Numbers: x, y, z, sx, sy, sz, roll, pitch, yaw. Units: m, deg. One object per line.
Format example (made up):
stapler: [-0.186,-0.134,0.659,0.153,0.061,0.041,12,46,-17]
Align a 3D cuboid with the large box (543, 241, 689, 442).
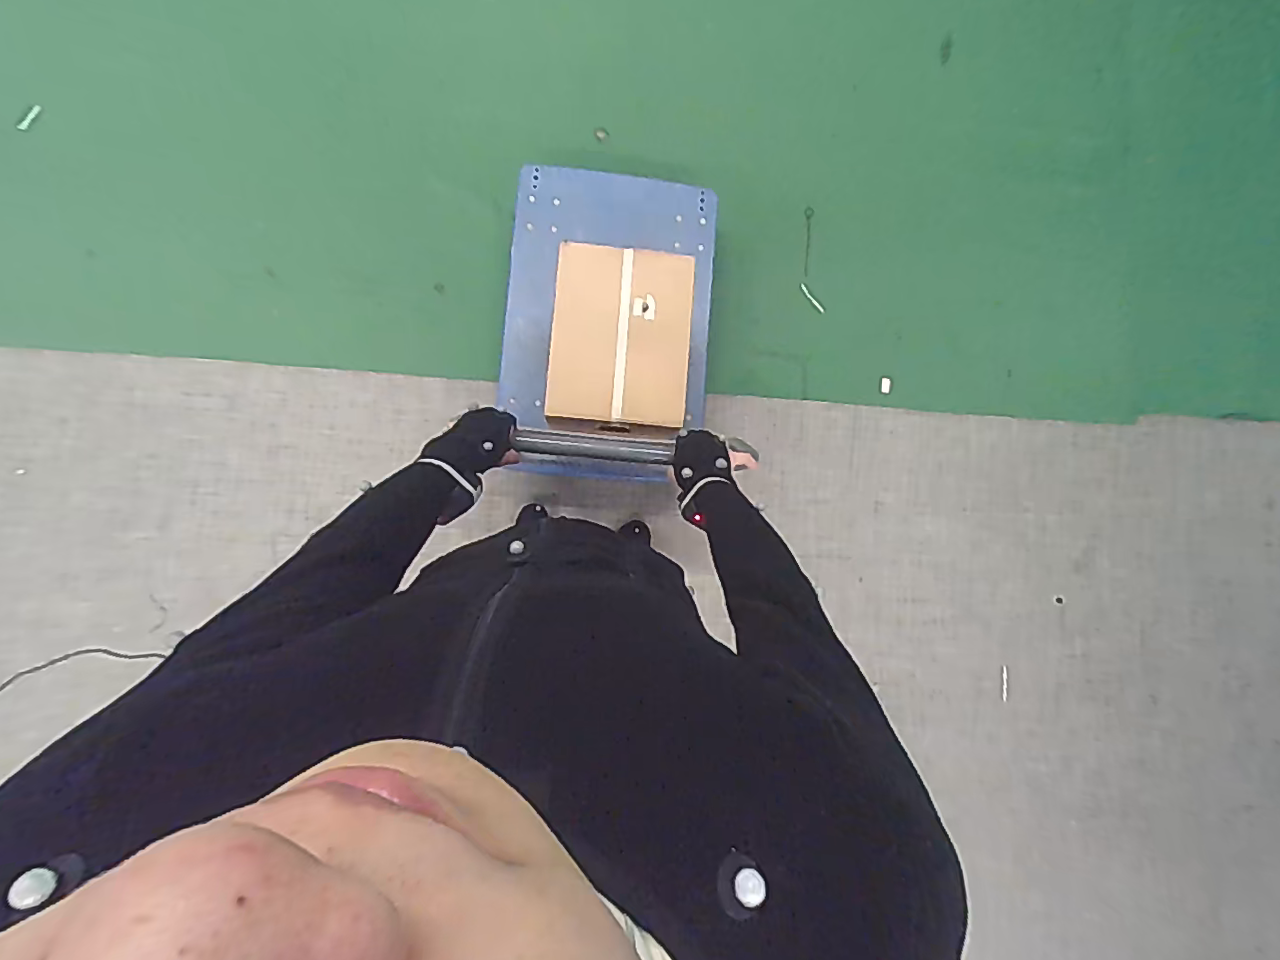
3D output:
large box: [-0.063,-0.320,1.362,0.320,0.320,0.408,5,85,-6]
